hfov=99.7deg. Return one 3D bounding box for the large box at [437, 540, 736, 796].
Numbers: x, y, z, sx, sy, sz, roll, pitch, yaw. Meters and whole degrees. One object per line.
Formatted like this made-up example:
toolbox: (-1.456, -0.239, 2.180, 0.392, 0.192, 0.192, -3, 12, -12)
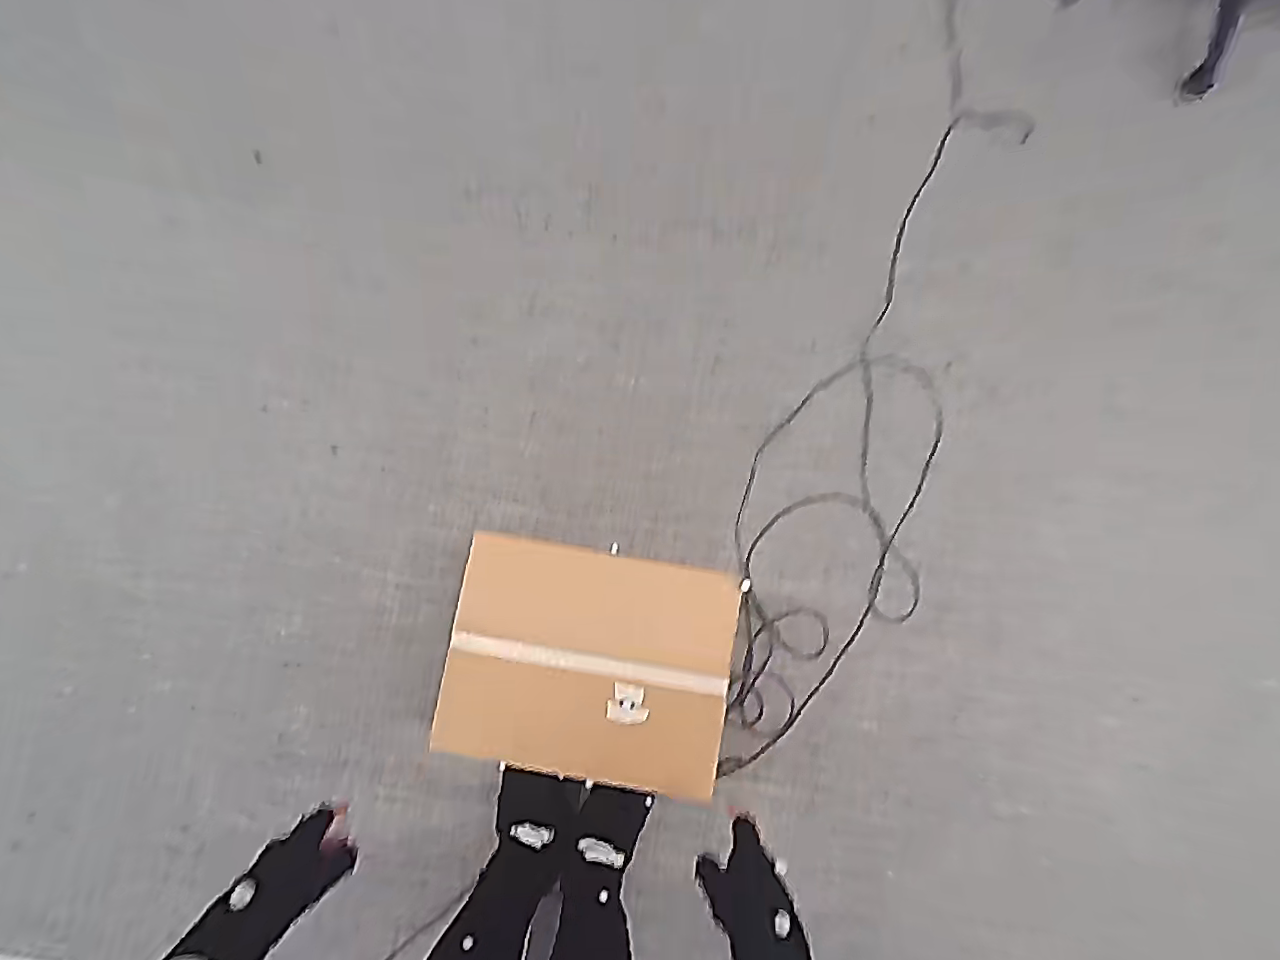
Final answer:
large box: (-0.076, 0.295, 0.938, 0.408, 0.320, 0.320, 10, 81, 1)
